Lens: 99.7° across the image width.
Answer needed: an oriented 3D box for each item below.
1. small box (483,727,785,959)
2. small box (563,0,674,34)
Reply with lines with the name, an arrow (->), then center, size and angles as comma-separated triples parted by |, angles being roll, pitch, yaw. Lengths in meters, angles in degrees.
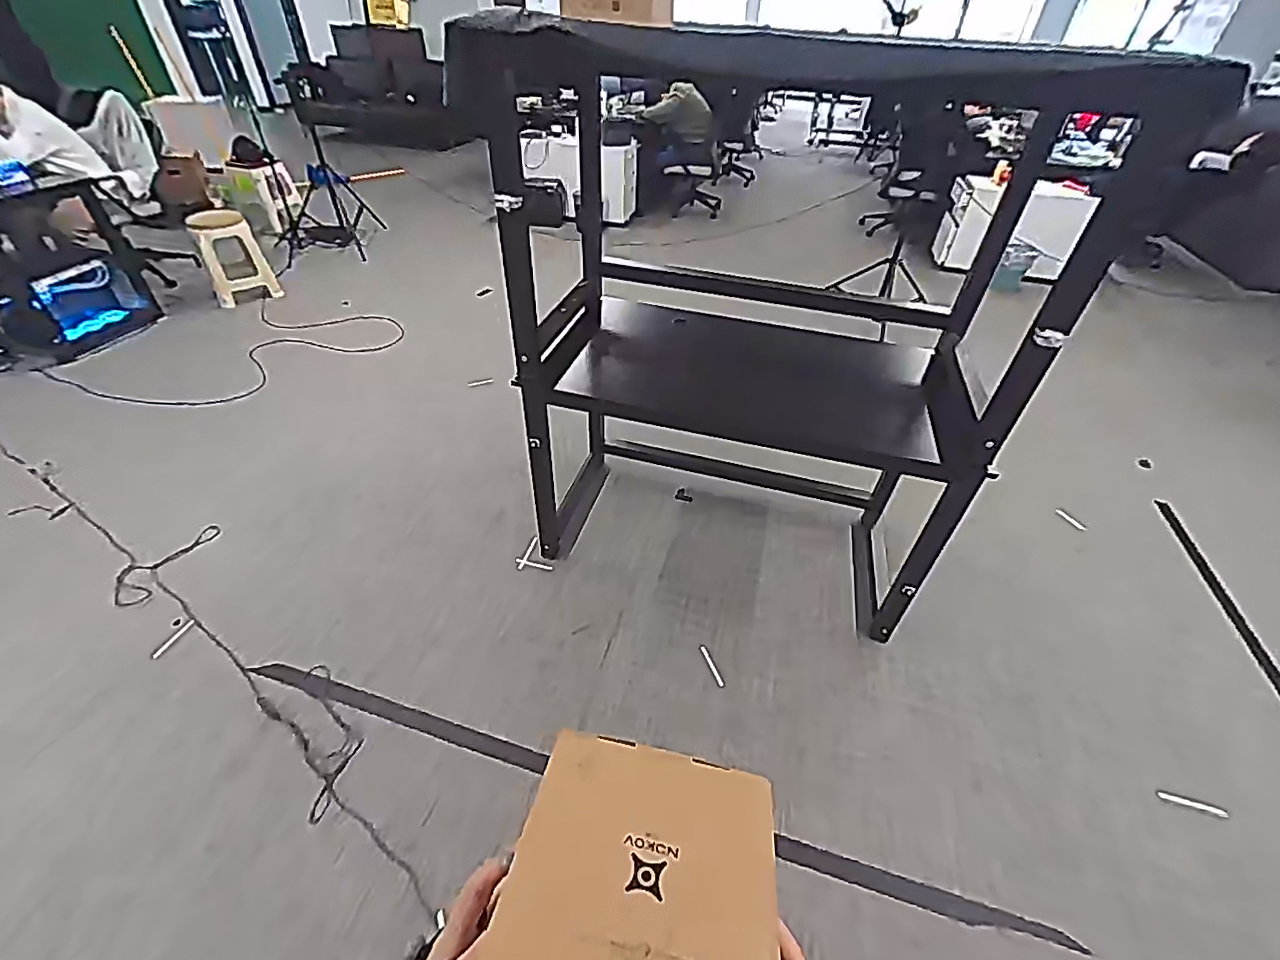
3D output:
small box -> -0.005, 0.314, 0.370 | 0.168, 0.176, 0.179 | 11, 26, 5
small box -> -0.033, -0.890, 0.940 | 0.168, 0.176, 0.179 | 14, 40, 9
